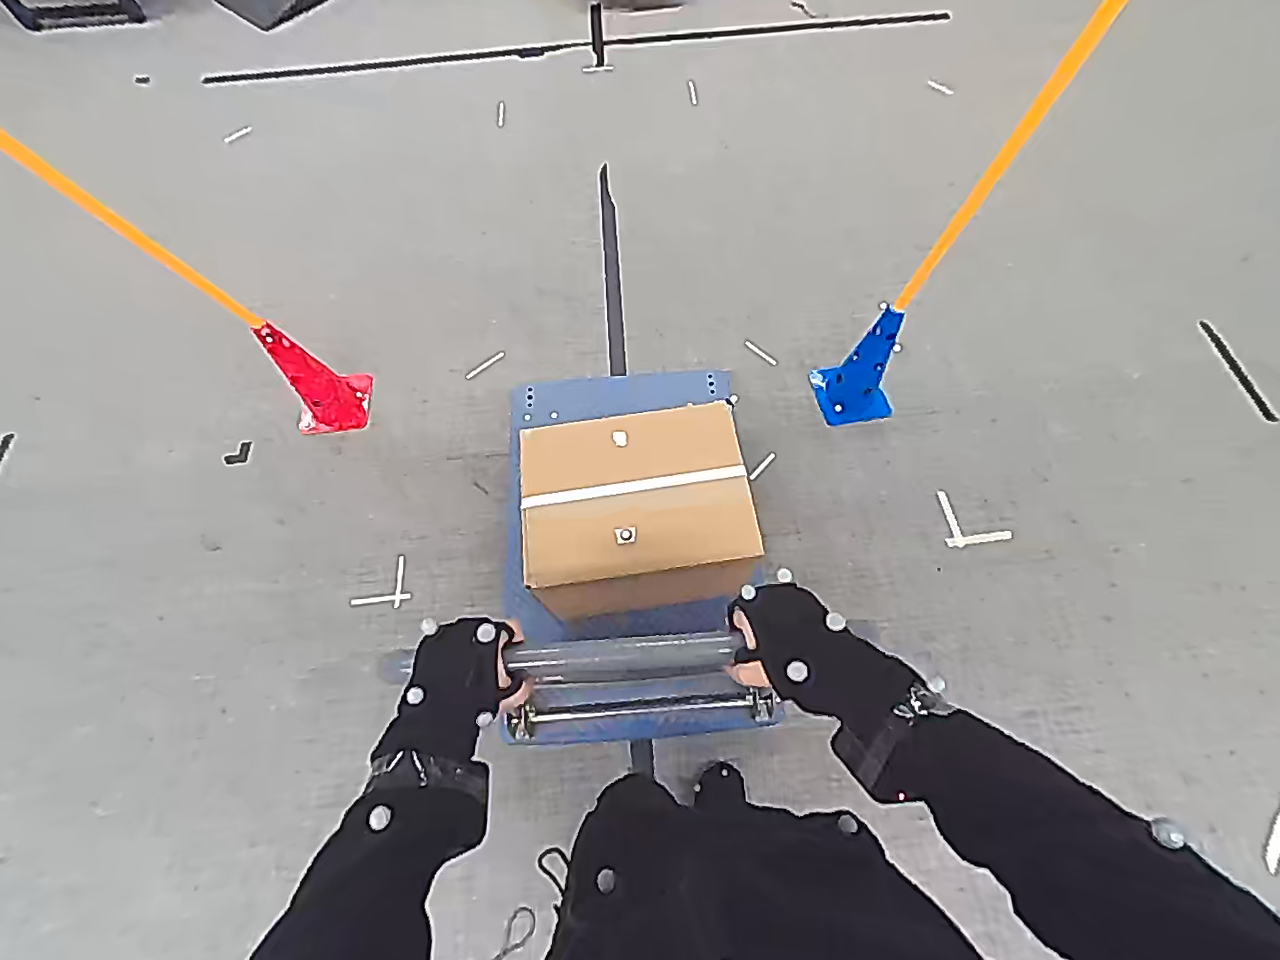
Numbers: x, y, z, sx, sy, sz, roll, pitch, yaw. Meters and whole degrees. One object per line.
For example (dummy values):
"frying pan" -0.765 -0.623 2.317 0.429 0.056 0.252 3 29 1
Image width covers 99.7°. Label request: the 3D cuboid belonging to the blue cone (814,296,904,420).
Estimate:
"blue cone" 0.624 -0.336 1.455 0.193 0.380 0.192 -8 64 -2
